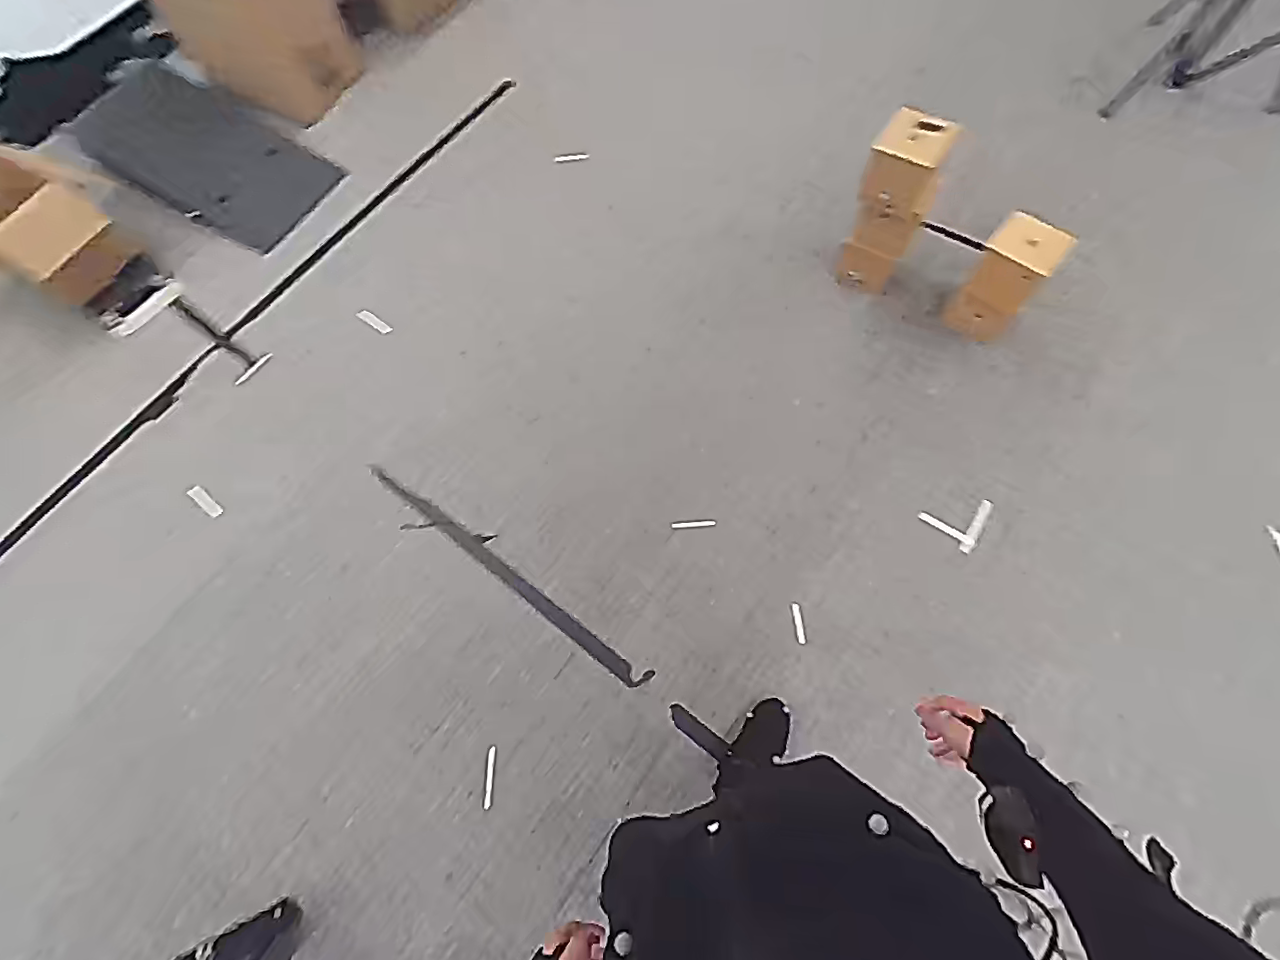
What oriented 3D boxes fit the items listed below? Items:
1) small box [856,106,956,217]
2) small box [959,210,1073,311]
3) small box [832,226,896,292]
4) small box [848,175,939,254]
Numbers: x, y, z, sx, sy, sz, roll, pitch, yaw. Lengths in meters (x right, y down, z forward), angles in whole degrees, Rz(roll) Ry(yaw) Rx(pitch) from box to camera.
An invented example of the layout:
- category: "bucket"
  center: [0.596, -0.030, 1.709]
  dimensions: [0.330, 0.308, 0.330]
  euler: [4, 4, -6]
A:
- category: "small box"
  center: [0.718, -0.867, 1.481]
  dimensions: [0.168, 0.176, 0.179]
  euler: [32, 76, 17]
- category: "small box"
  center: [1.054, -0.615, 1.534]
  dimensions: [0.179, 0.176, 0.168]
  euler: [39, 77, 16]
- category: "small box"
  center: [0.759, -0.765, 1.791]
  dimensions: [0.168, 0.176, 0.179]
  euler: [29, 75, 15]
- category: "small box"
  center: [0.758, -0.819, 1.636]
  dimensions: [0.179, 0.176, 0.168]
  euler: [28, 74, 15]
